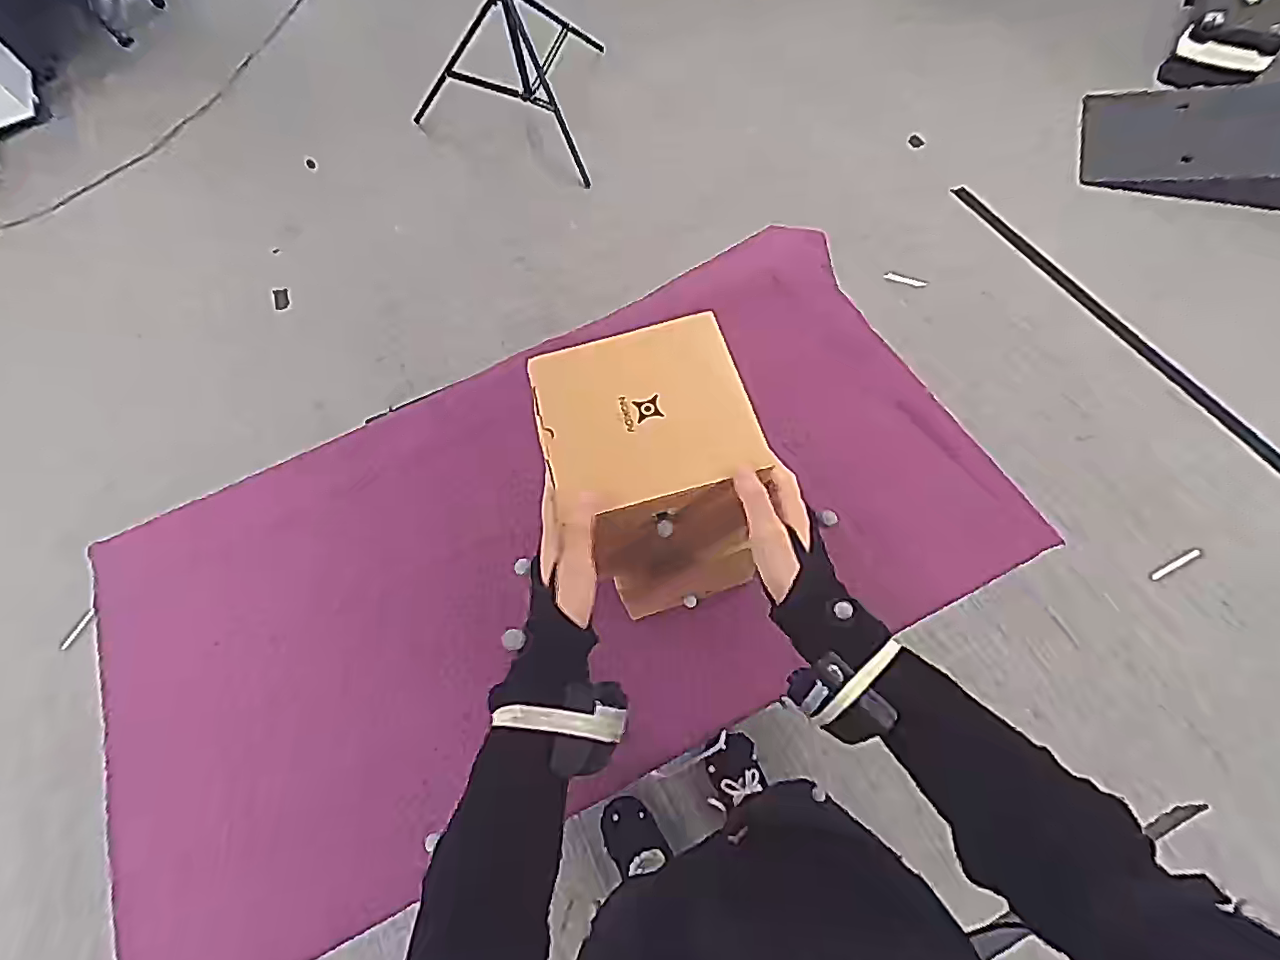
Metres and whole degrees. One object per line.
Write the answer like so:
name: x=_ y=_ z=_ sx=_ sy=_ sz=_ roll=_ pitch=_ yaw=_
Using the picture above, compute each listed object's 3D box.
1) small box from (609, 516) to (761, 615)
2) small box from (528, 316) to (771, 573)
small box: x=0.032 y=0.049 z=0.670 sx=0.168 sy=0.176 sz=0.179 roll=-18 pitch=66 yaw=-3
small box: x=0.008 y=-0.024 z=0.526 sx=0.179 sy=0.176 sz=0.168 roll=-15 pitch=65 yaw=-1
